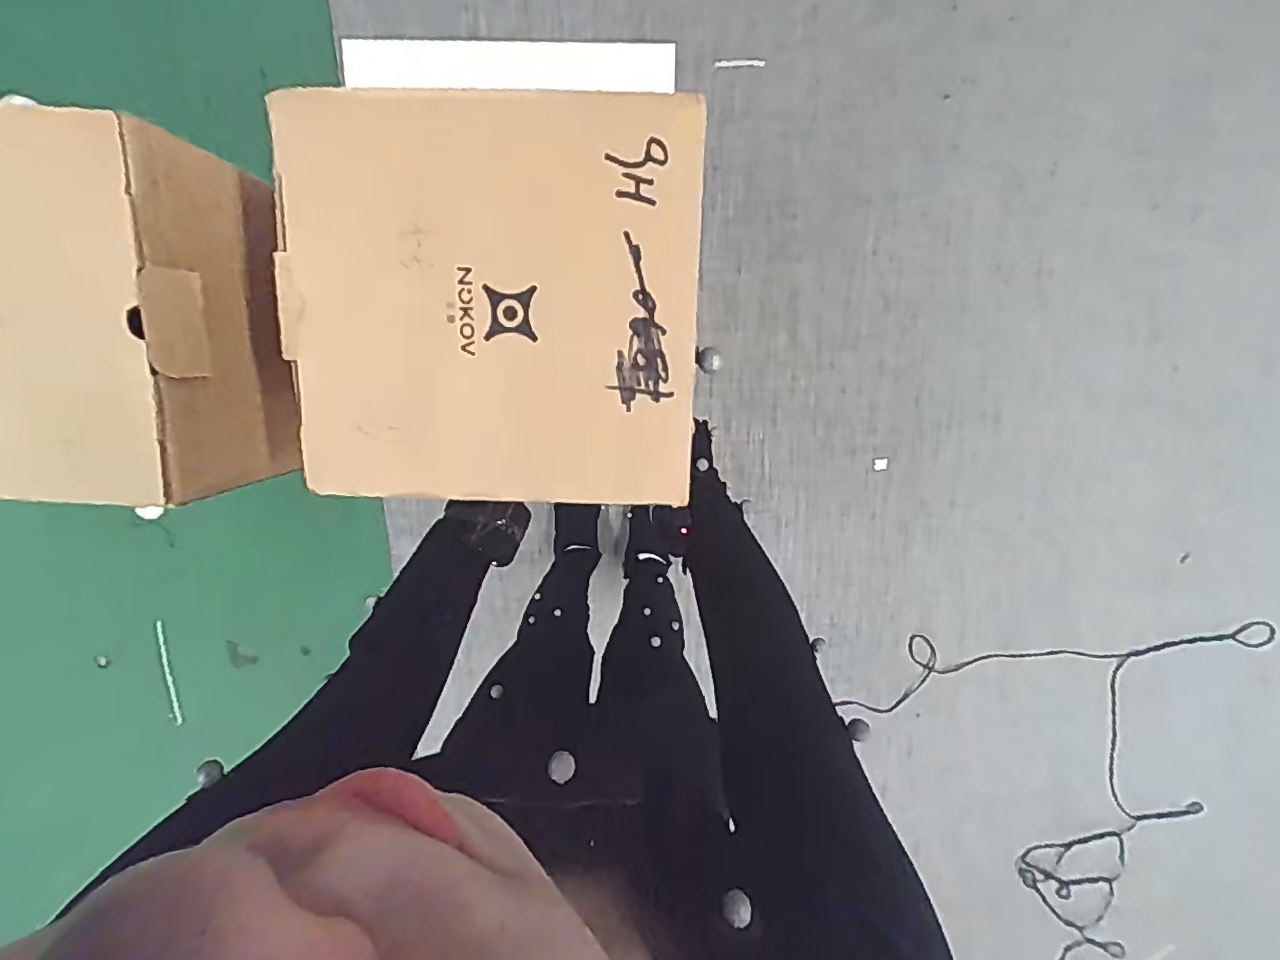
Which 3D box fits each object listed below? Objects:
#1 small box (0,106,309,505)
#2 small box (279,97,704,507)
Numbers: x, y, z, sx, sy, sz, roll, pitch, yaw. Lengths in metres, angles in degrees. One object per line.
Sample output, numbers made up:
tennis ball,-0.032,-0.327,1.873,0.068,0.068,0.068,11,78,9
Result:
small box,-0.294,-0.087,0.311,0.179,0.176,0.168,2,101,-2
small box,-0.059,-0.087,0.309,0.179,0.176,0.168,2,102,2
